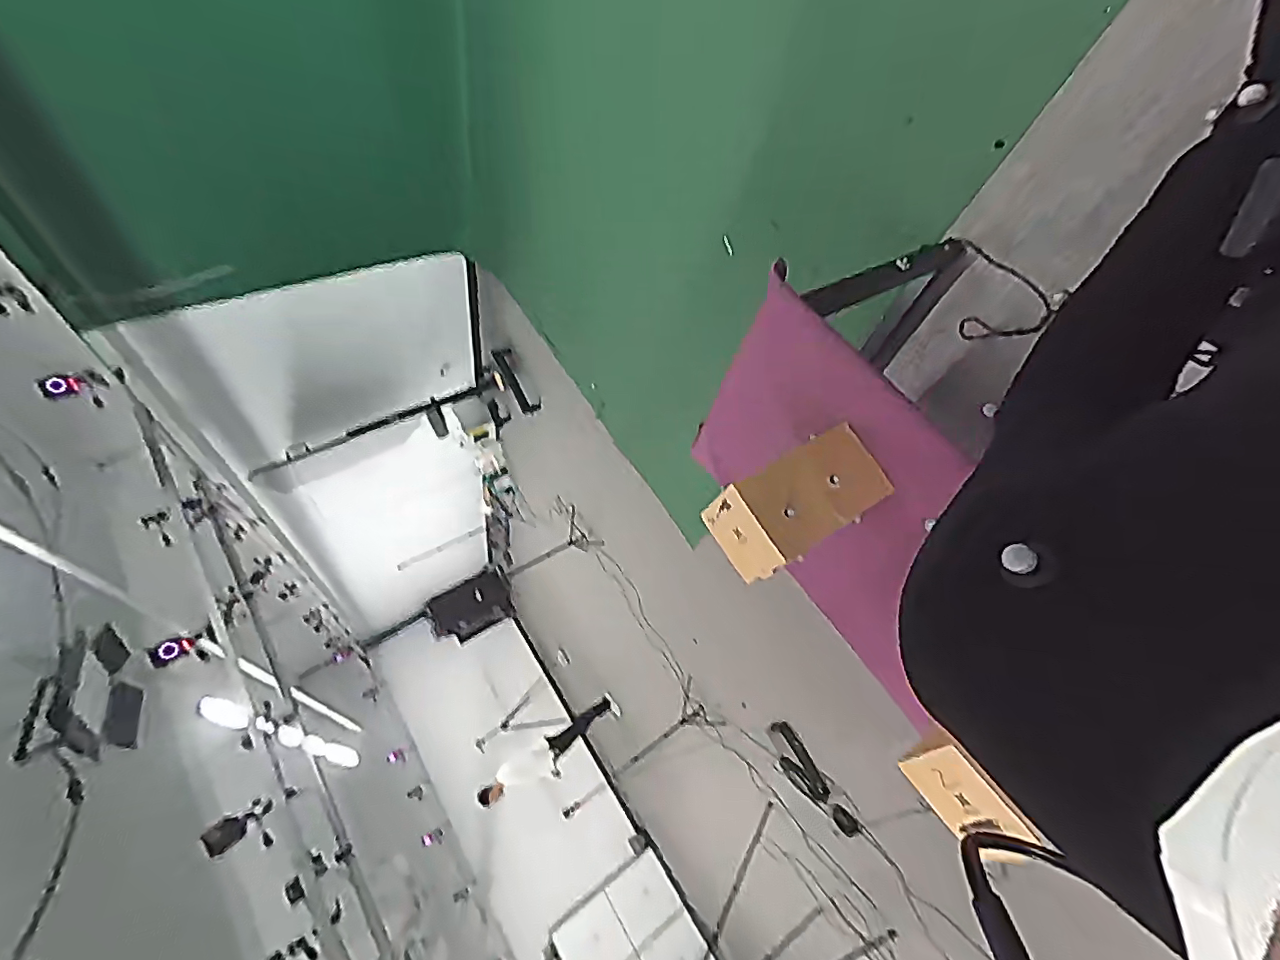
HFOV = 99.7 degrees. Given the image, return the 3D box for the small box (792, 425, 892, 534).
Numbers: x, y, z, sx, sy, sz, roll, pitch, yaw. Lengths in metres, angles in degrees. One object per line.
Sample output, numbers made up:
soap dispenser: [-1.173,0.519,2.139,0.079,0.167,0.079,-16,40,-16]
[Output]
small box: [0.396,0.011,1.158,0.179,0.176,0.168,58,153,10]

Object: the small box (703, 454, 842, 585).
small box: [0.266,0.078,1.085,0.179,0.176,0.168,55,152,12]
